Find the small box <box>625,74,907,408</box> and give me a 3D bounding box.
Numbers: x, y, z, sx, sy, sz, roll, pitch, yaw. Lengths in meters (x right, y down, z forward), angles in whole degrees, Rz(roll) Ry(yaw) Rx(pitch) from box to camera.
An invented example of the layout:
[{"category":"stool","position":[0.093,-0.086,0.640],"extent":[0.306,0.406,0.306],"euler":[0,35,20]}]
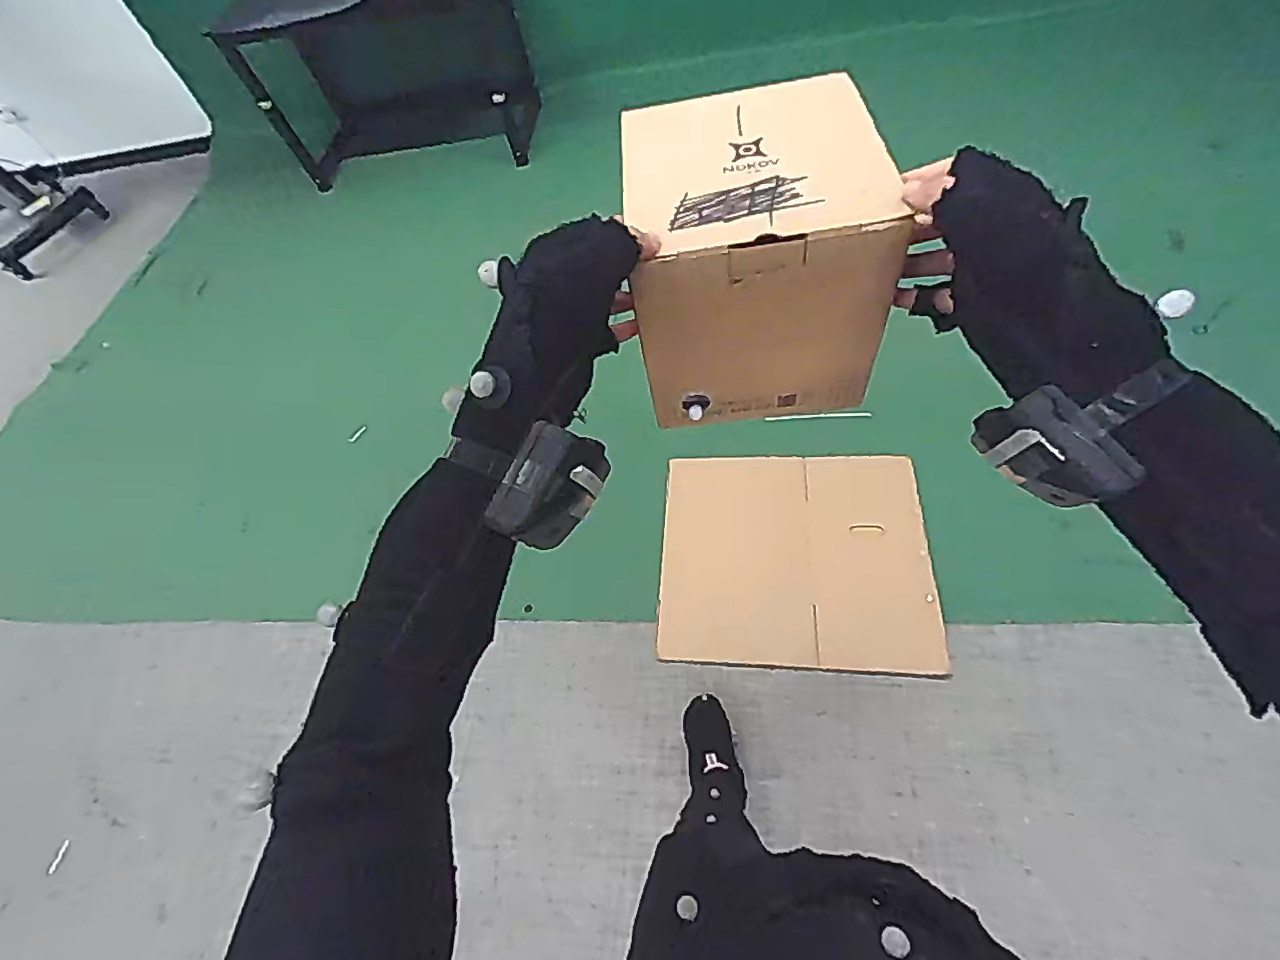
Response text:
[{"category":"small box","position":[0.083,-0.170,0.424],"extent":[0.168,0.176,0.179],"euler":[-5,58,7]}]
